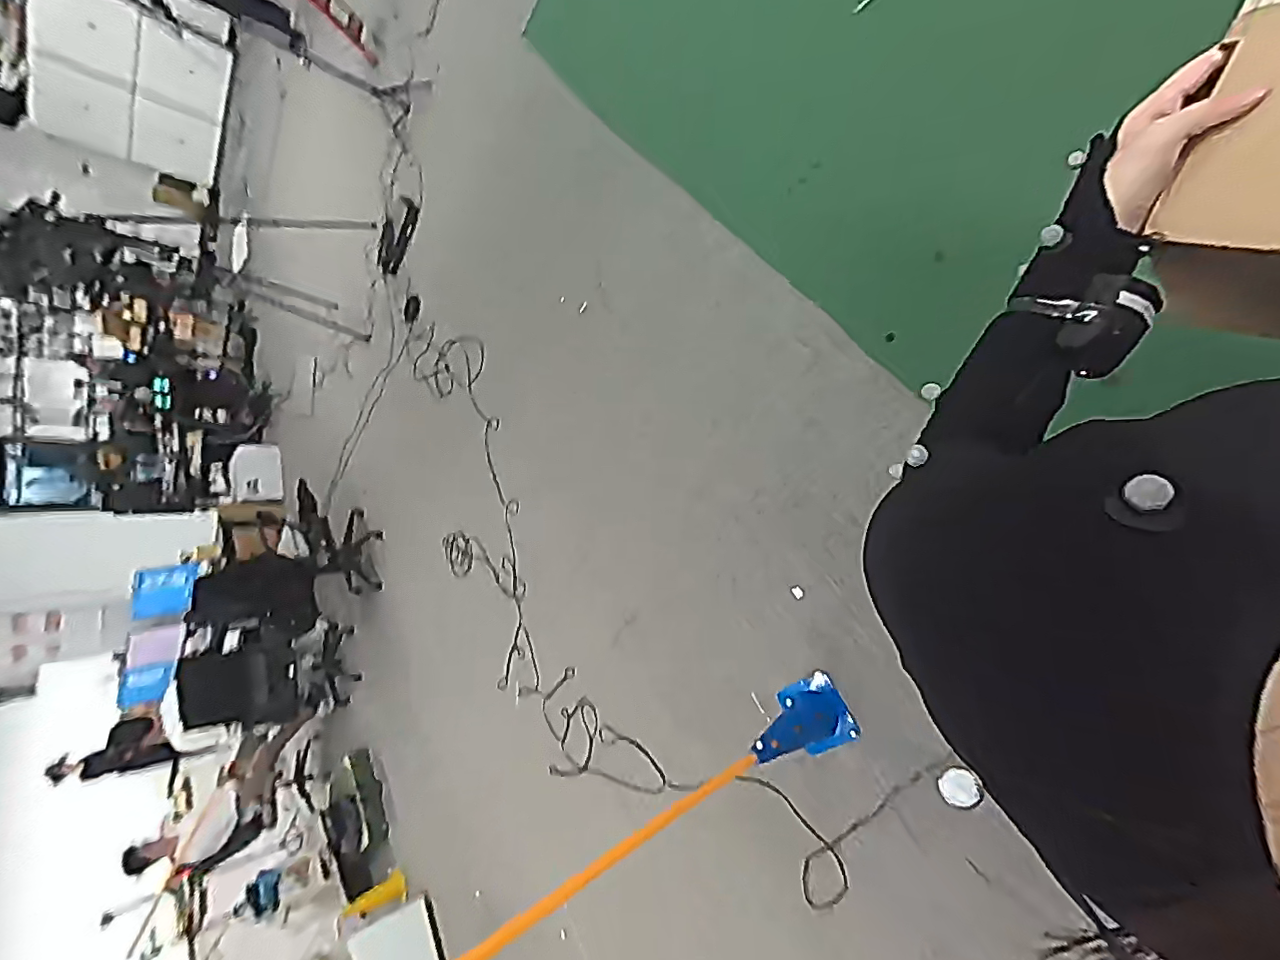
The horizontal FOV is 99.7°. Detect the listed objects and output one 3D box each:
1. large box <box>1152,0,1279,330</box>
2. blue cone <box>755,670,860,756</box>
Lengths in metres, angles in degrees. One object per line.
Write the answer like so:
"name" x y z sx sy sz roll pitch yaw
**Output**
"large box" 0.648 -0.253 0.330 0.408 0.320 0.320 31 113 42
"blue cone" 0.419 0.678 1.484 0.192 0.380 0.193 -42 62 33
